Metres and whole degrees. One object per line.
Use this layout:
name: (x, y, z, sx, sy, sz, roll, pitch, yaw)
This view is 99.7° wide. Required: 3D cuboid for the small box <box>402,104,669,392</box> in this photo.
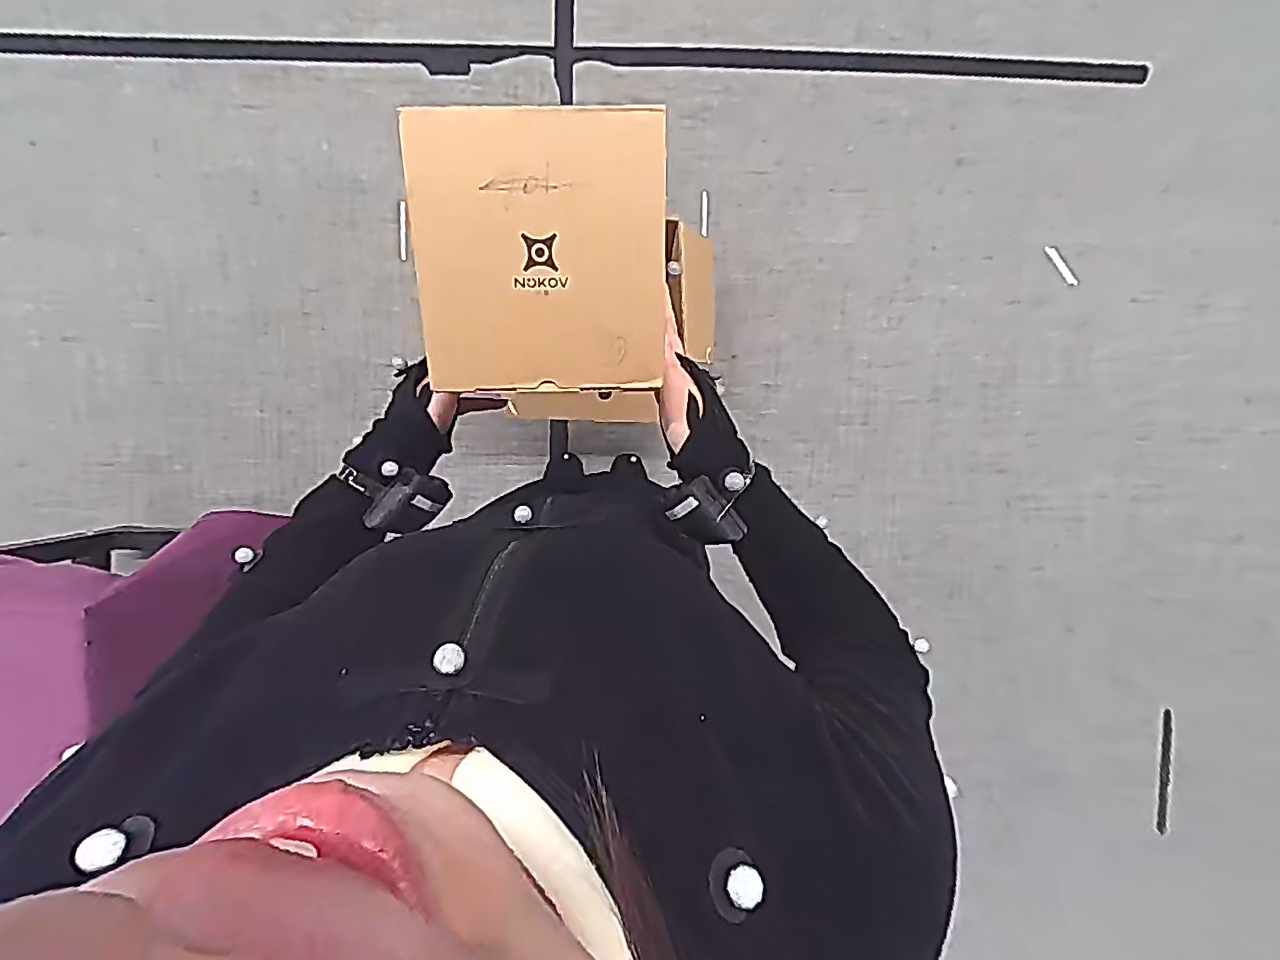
small box: (-0.064, -0.169, 0.430, 0.168, 0.176, 0.179, -1, 107, -1)
